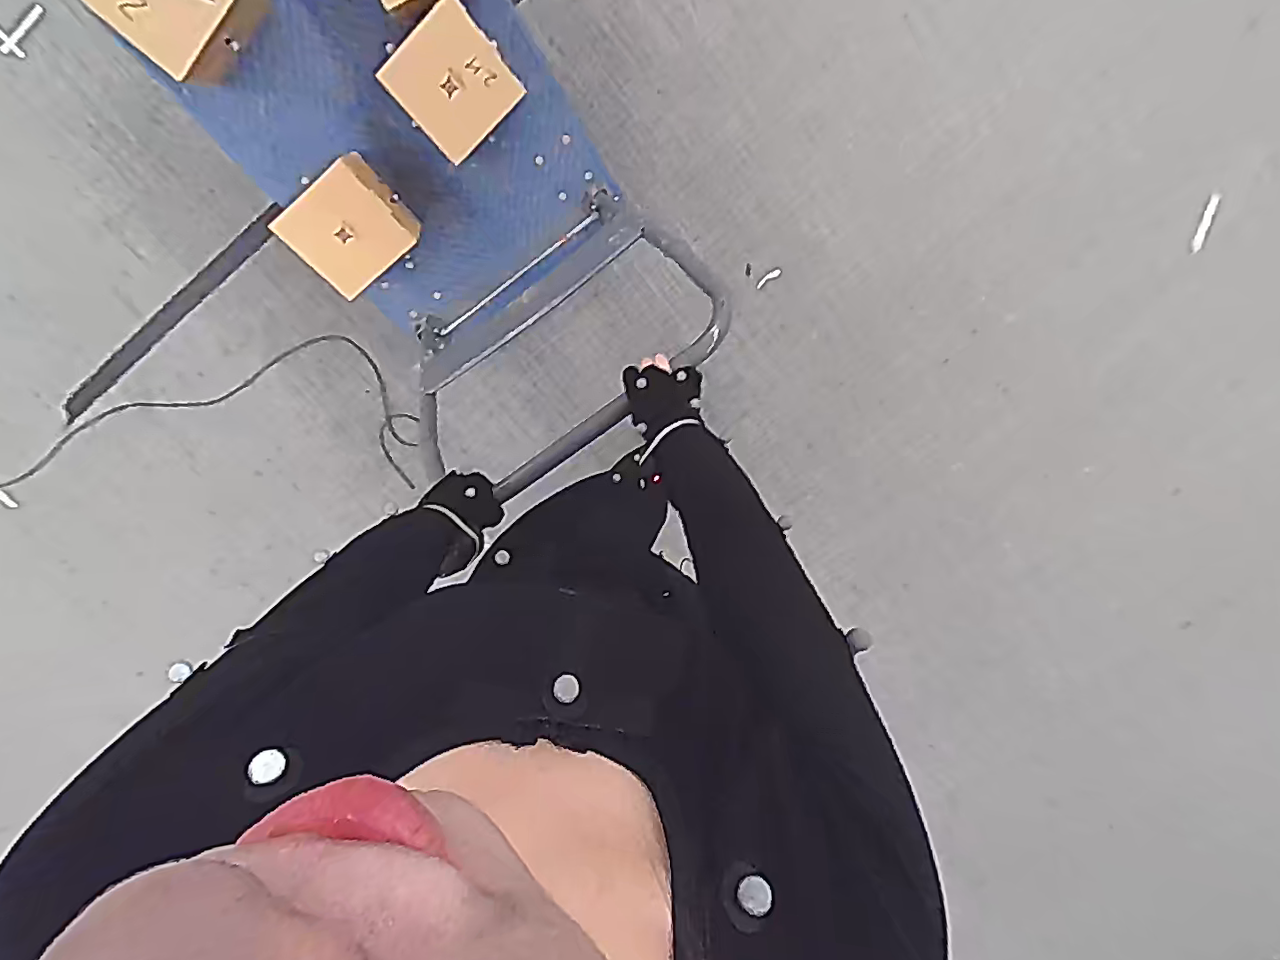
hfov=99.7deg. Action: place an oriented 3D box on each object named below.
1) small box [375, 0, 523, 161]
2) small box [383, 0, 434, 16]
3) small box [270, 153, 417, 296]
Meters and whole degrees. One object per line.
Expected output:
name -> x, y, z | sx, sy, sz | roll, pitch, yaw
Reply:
small box -> -0.325, -0.696, 0.945 | 0.179, 0.176, 0.168 | -39, 126, 11
small box -> -0.363, -0.854, 0.823 | 0.168, 0.176, 0.179 | -27, 128, 1
small box -> -0.543, -0.485, 1.021 | 0.179, 0.176, 0.168 | -38, 126, 7
